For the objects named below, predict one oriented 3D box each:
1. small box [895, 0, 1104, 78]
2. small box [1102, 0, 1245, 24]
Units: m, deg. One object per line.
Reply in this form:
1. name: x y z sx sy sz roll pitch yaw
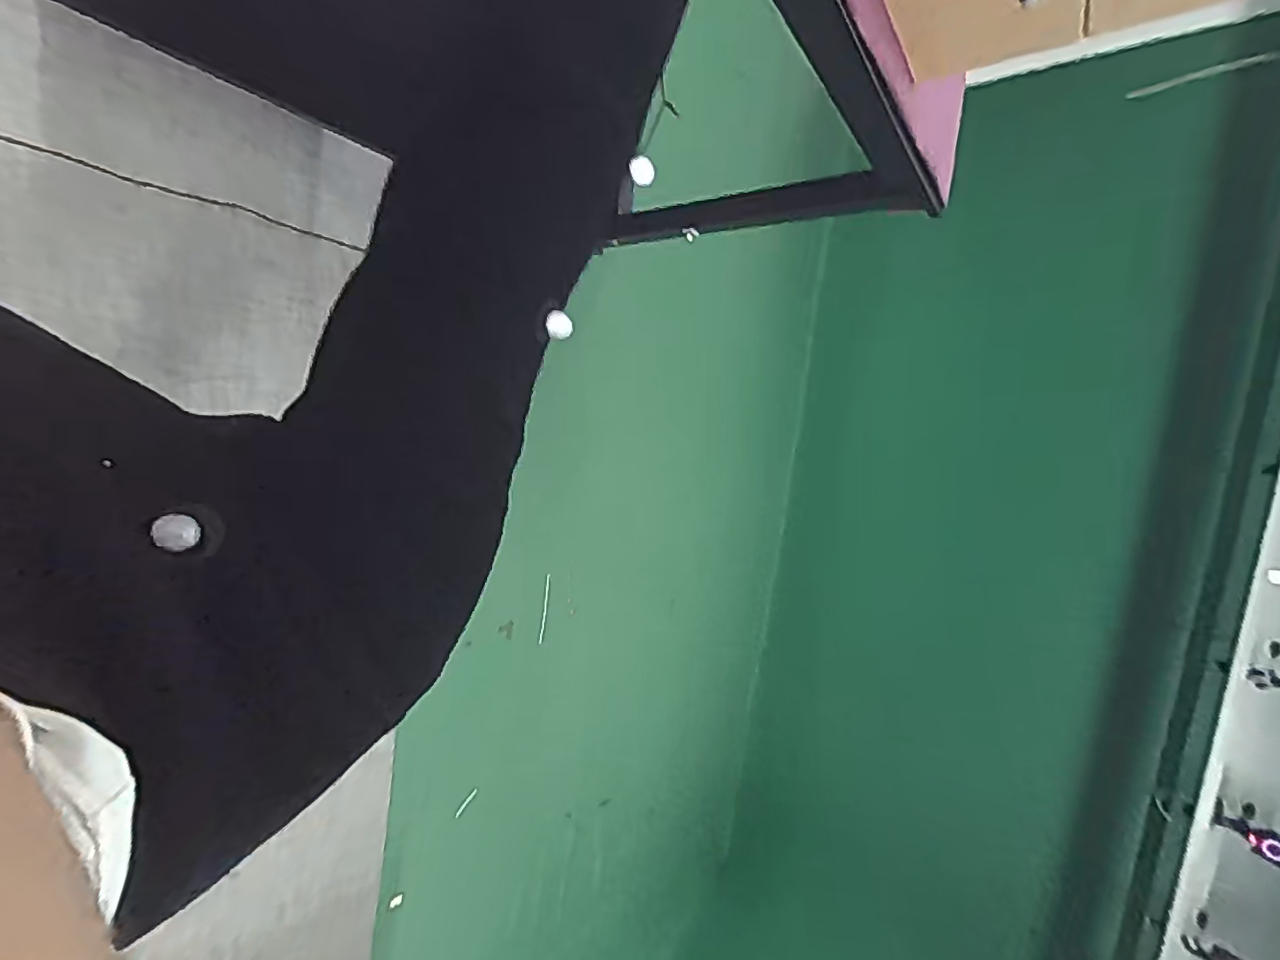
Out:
1. small box: 0.363 -0.543 0.531 0.179 0.176 0.168 0 100 -52
2. small box: 0.492 -0.518 0.433 0.179 0.176 0.168 -3 101 -51
